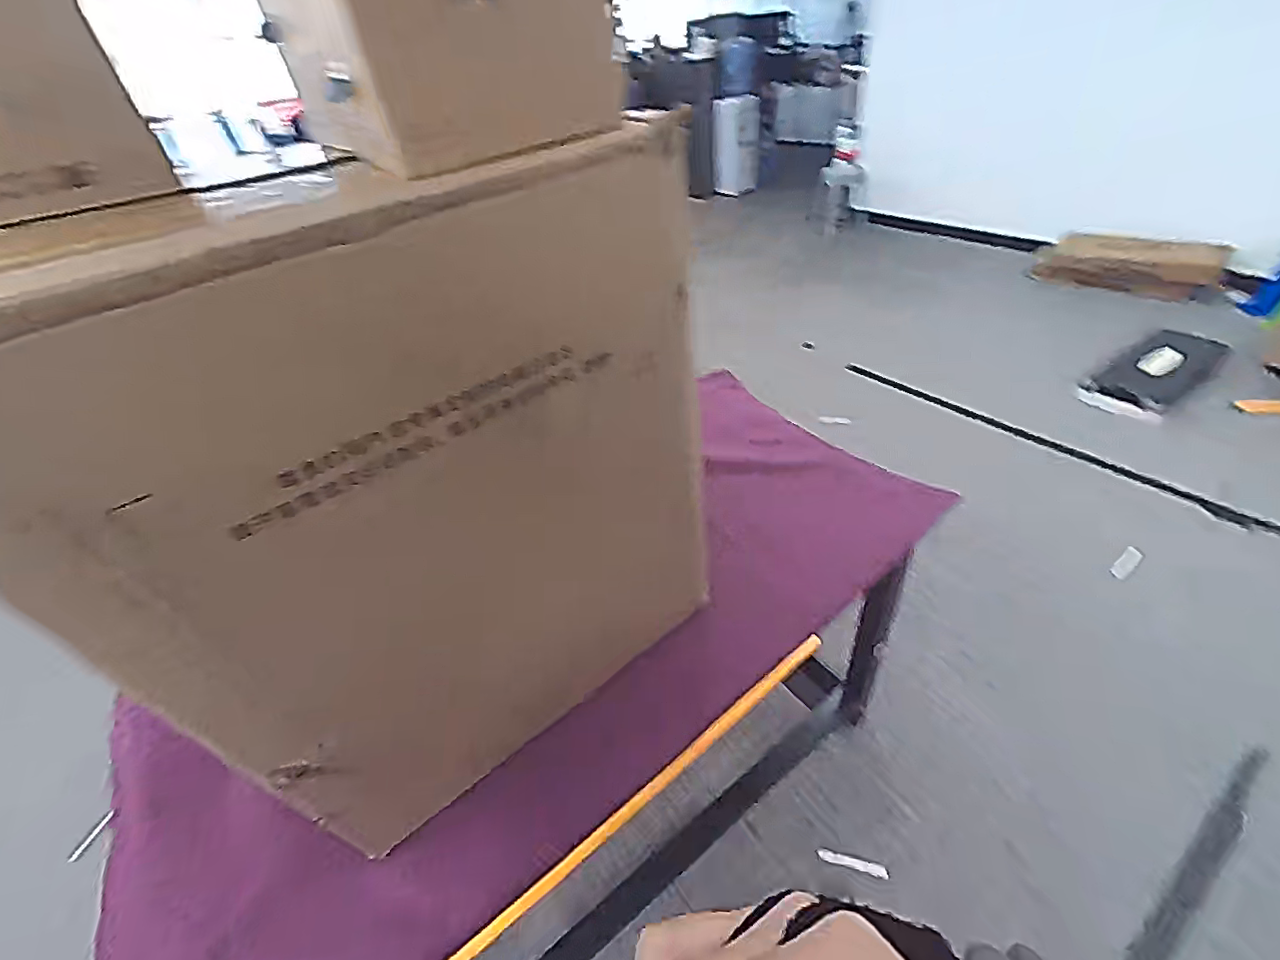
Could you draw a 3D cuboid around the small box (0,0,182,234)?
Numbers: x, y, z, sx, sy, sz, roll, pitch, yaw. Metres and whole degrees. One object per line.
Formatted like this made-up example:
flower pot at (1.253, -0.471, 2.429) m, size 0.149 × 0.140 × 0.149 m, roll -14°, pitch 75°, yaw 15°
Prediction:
small box at (-0.466, -0.276, 0.380) m, size 0.168 × 0.176 × 0.179 m, roll -30°, pitch 44°, yaw -25°
